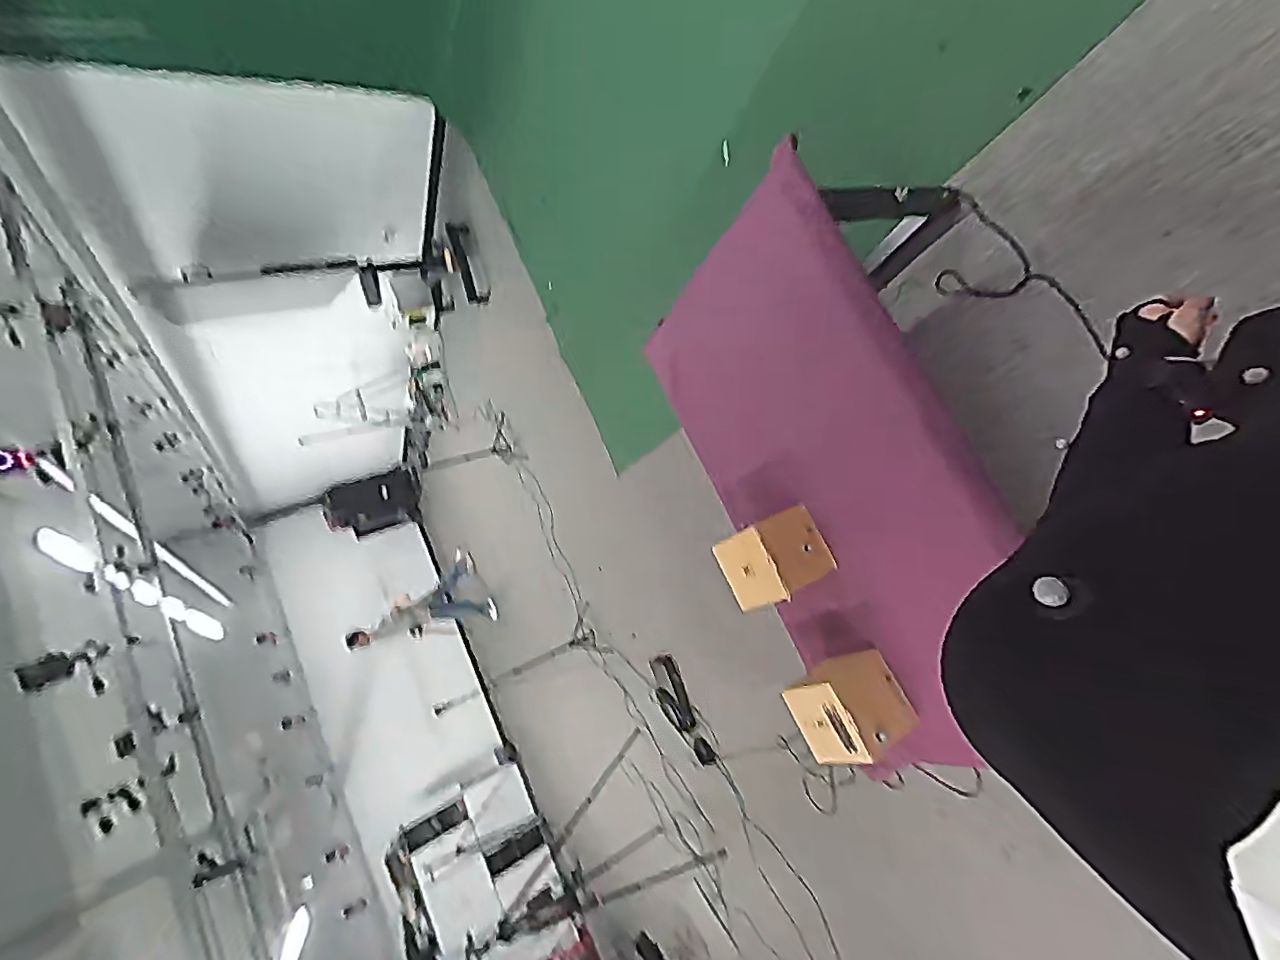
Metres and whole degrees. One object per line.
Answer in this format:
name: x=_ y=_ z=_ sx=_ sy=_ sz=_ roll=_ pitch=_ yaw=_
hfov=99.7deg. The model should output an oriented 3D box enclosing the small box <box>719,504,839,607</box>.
small box: x=0.322 y=0.176 z=1.262 sx=0.168 sy=0.176 sz=0.179 roll=64 pitch=148 yaw=12
